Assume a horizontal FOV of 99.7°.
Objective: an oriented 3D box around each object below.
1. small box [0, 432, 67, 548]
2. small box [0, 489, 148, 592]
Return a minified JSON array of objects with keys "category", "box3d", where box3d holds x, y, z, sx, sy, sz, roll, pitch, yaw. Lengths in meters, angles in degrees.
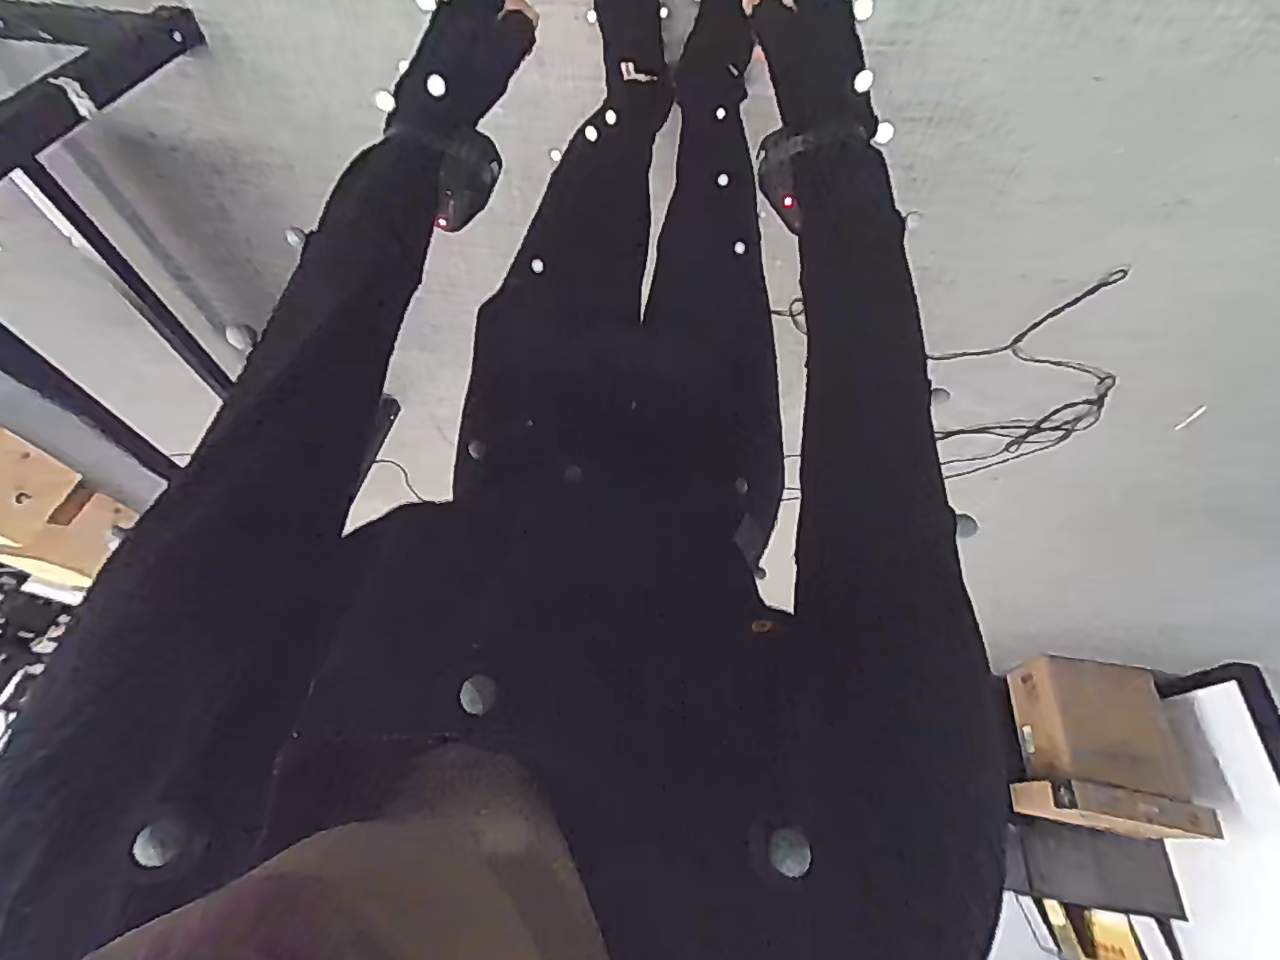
[{"category":"small box","box3d":[-1.235,0.006,0.994,0.179,0.176,0.168,7,148,7]},{"category":"small box","box3d":[-1.256,0.125,1.183,0.179,0.176,0.168,6,148,7]}]
